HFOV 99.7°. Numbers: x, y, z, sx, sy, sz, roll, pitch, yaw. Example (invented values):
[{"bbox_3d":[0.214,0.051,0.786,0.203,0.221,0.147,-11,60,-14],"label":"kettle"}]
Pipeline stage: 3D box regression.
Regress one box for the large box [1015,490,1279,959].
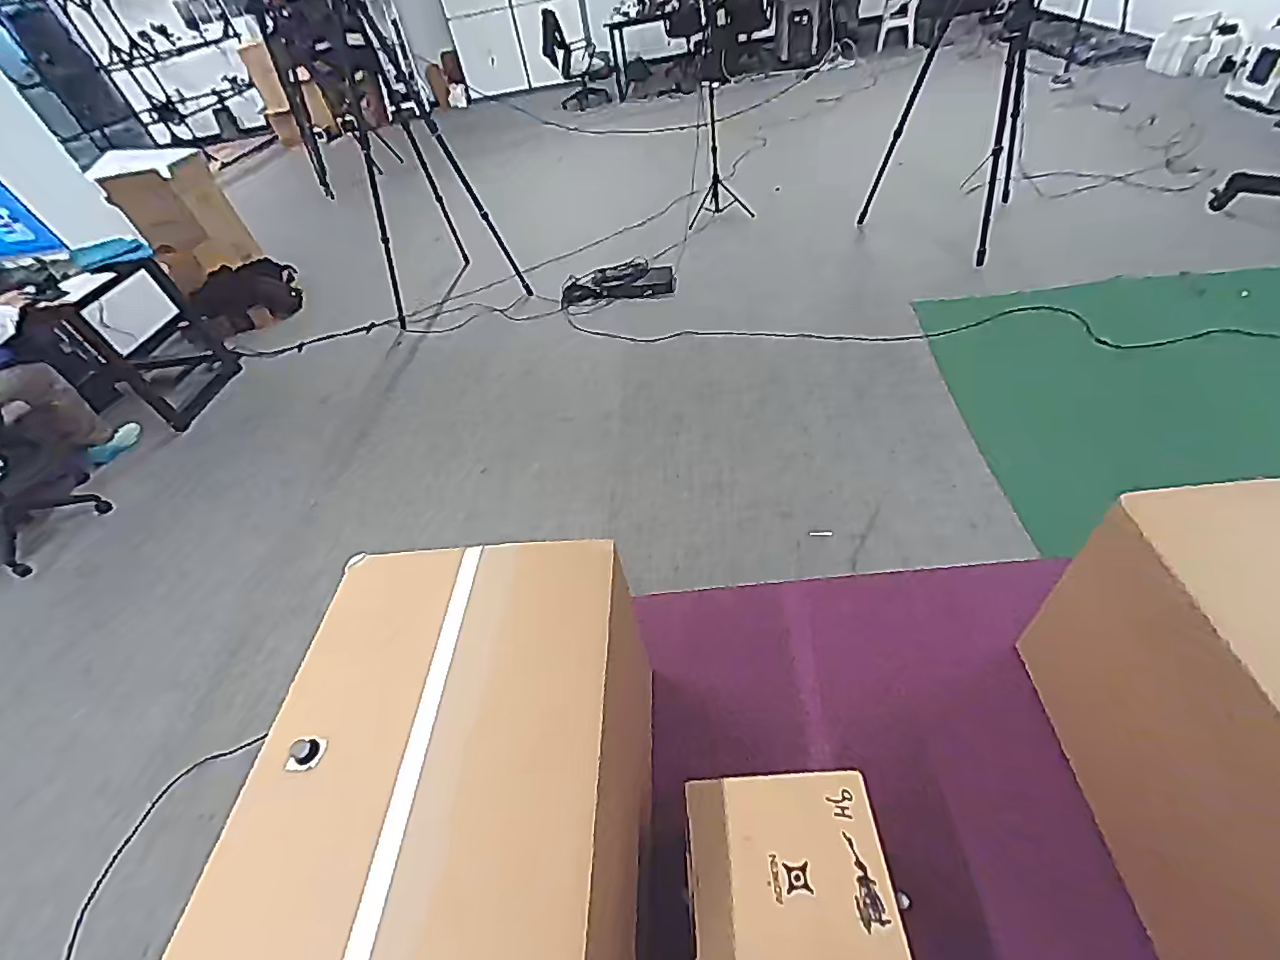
[{"bbox_3d":[0.635,0.255,0.488,0.320,0.320,0.408,-4,46,8],"label":"large box"}]
